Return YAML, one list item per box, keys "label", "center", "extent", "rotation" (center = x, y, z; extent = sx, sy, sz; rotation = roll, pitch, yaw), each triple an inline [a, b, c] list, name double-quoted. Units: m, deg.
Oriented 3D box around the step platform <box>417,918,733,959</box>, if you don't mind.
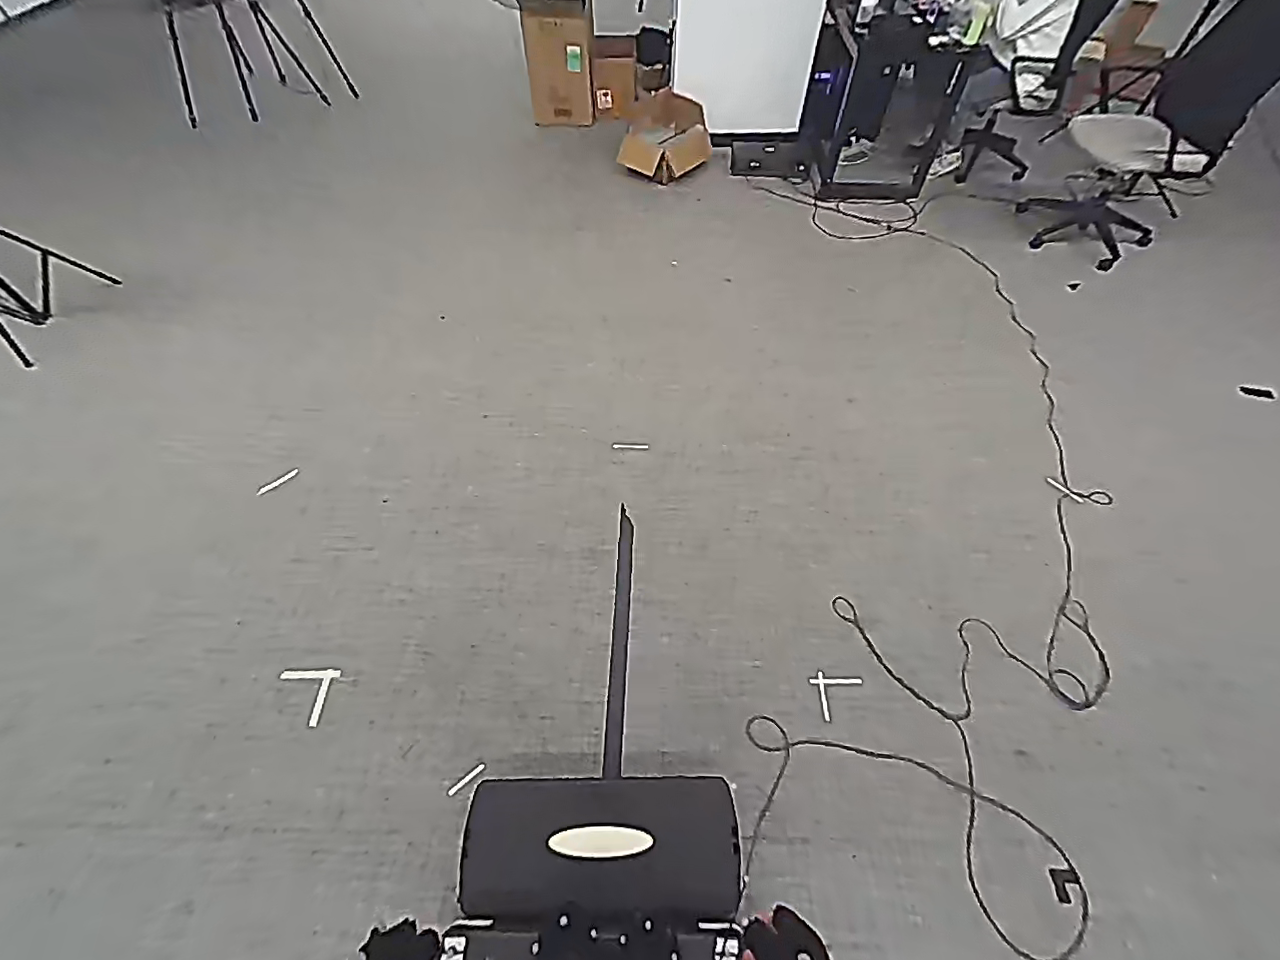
- label: "step platform"
  center: [-0.135, 1.103, 1.124]
  extent: [0.684, 0.204, 0.286]
  rotation: [-1, 55, 1]
